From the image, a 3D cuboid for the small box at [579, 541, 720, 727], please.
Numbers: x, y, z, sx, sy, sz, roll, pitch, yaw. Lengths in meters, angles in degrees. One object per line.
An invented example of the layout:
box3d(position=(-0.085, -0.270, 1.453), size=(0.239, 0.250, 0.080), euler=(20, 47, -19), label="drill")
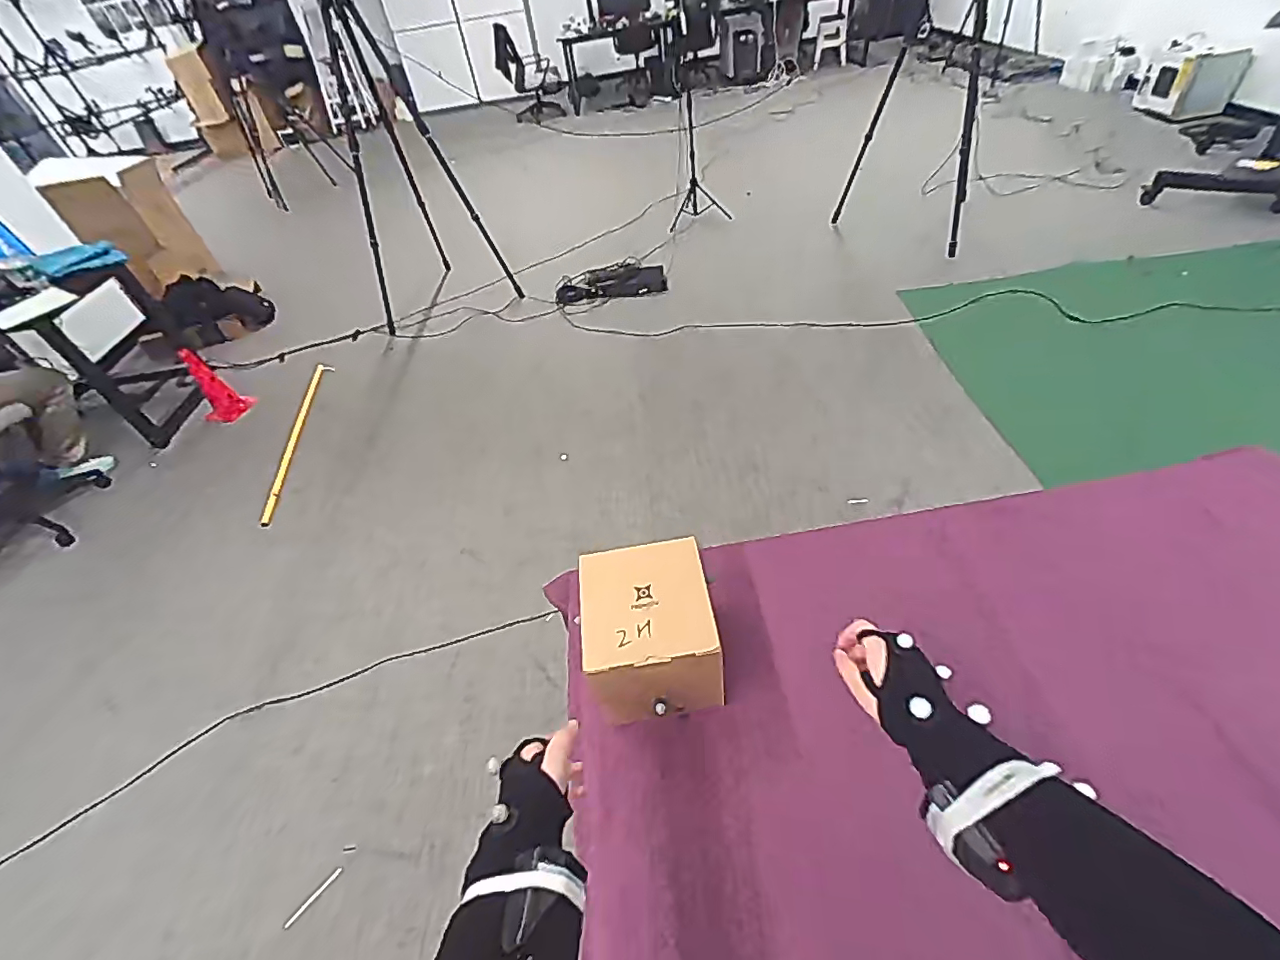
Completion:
box3d(position=(0.013, 0.213, 0.746), size=(0.168, 0.176, 0.179), euler=(-10, 45, 1), label="small box")
